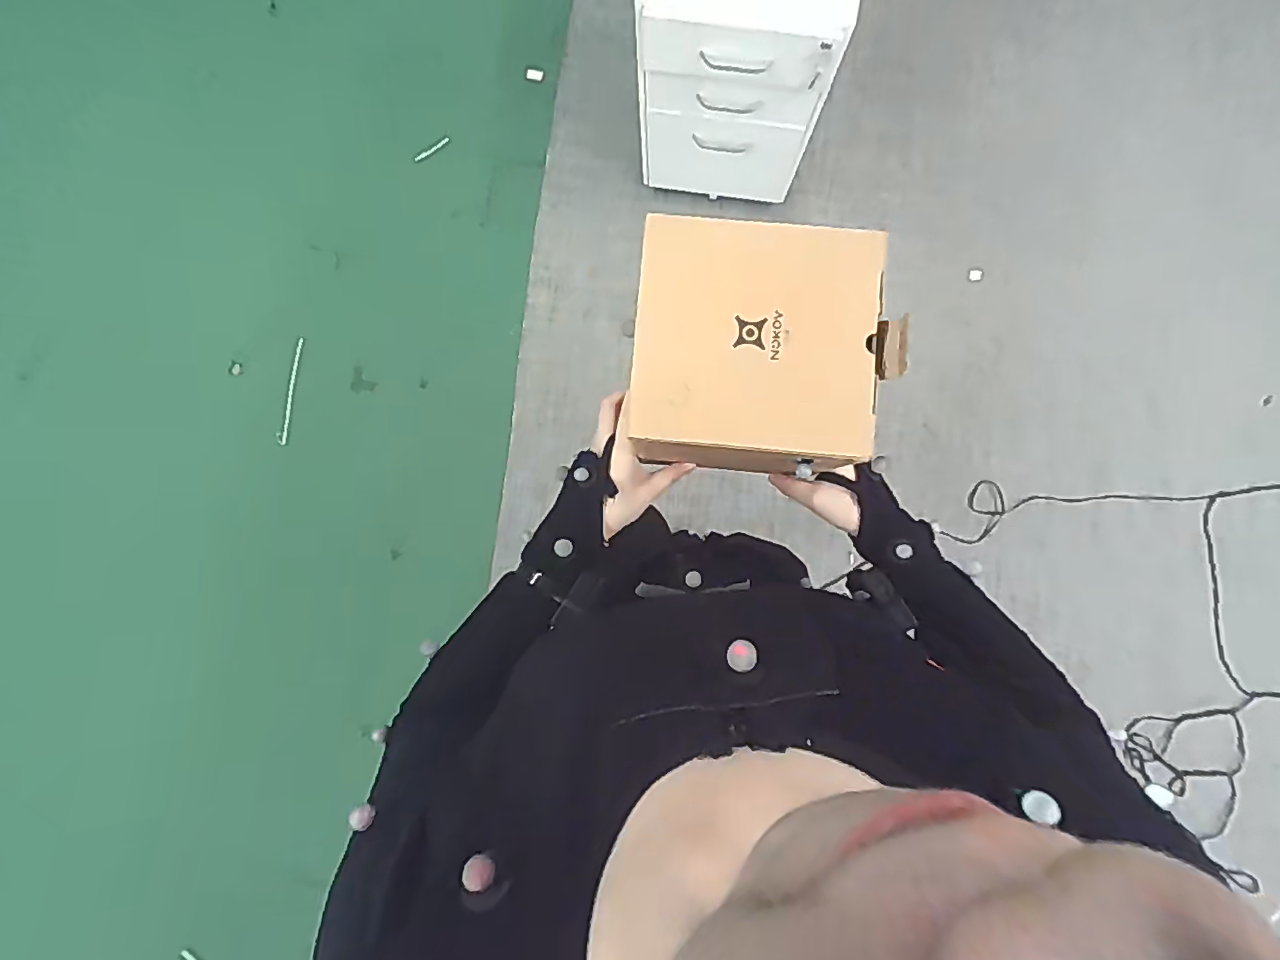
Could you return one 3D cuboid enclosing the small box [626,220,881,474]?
[{"bbox_3d":[0.084,-0.098,0.469,0.179,0.176,0.168,5,86,1],"label":"small box"}]
